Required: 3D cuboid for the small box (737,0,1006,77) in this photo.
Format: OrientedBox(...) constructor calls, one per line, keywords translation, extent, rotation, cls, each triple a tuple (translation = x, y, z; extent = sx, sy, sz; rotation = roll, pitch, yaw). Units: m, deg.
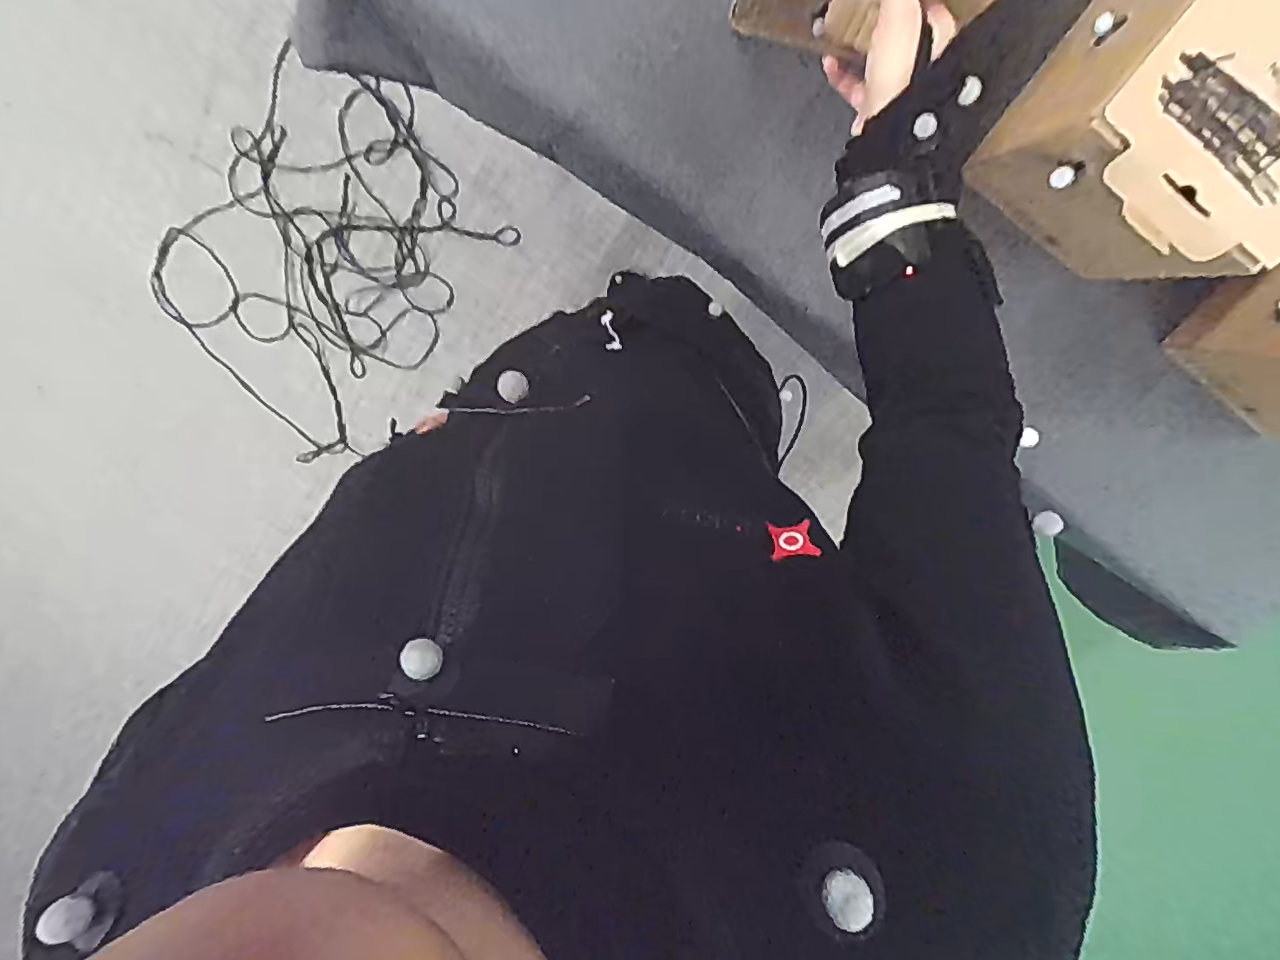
OrientedBox(translation=(0.172, -0.419, 0.367), extent=(0.168, 0.176, 0.179), rotation=(12, 111, -2), cls="small box")
